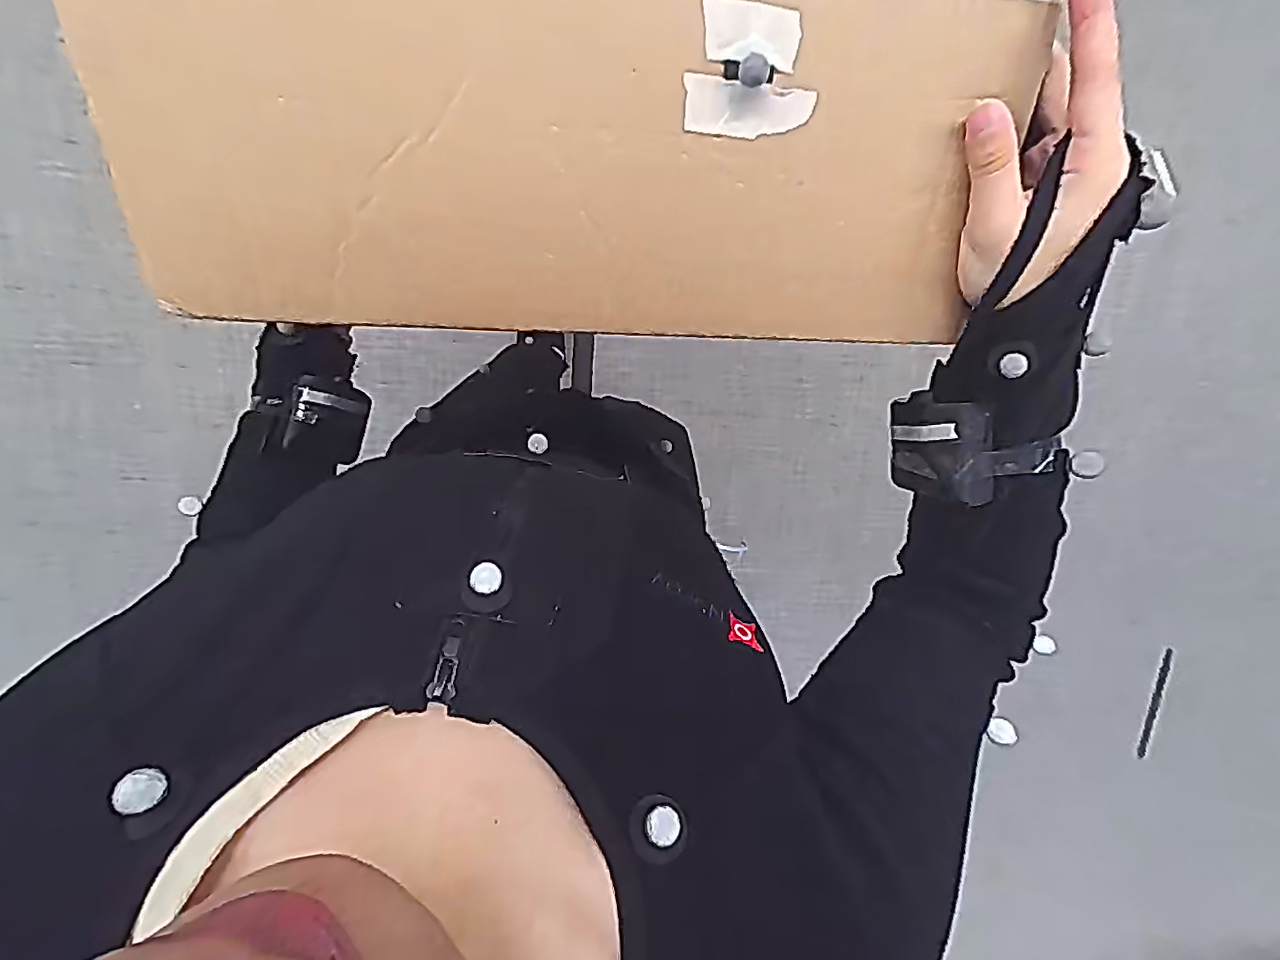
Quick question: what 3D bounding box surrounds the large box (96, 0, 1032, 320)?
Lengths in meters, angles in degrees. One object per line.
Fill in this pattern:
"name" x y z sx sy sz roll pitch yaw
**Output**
"large box" -0.035 -0.288 0.356 0.408 0.320 0.320 -1 115 -7
